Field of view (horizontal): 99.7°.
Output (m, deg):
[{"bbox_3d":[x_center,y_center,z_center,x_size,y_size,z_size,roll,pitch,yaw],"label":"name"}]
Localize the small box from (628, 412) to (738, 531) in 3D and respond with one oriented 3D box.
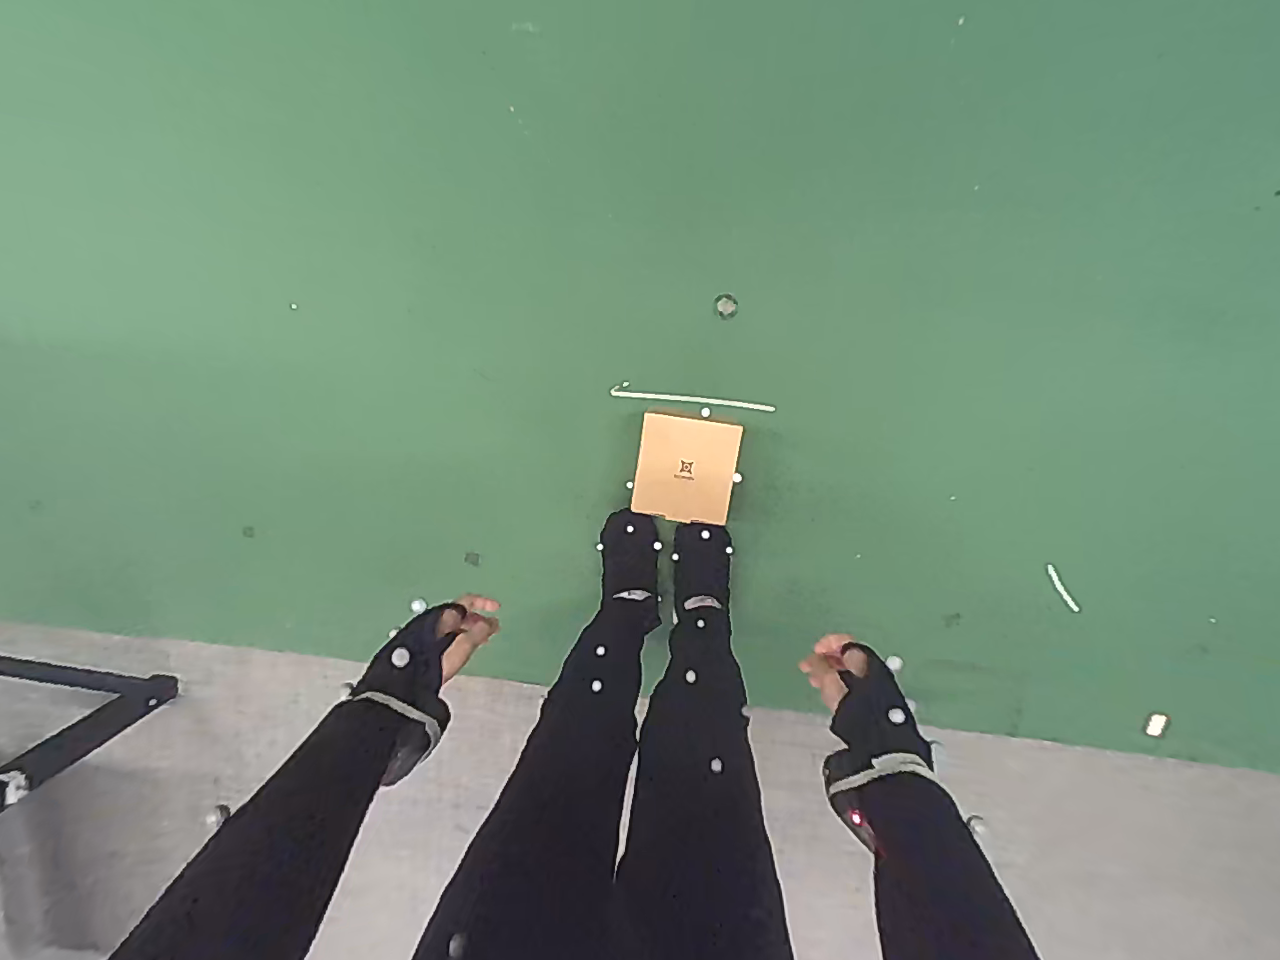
[{"bbox_3d":[0.074,-0.024,0.987,0.168,0.176,0.179,9,103,2],"label":"small box"}]
